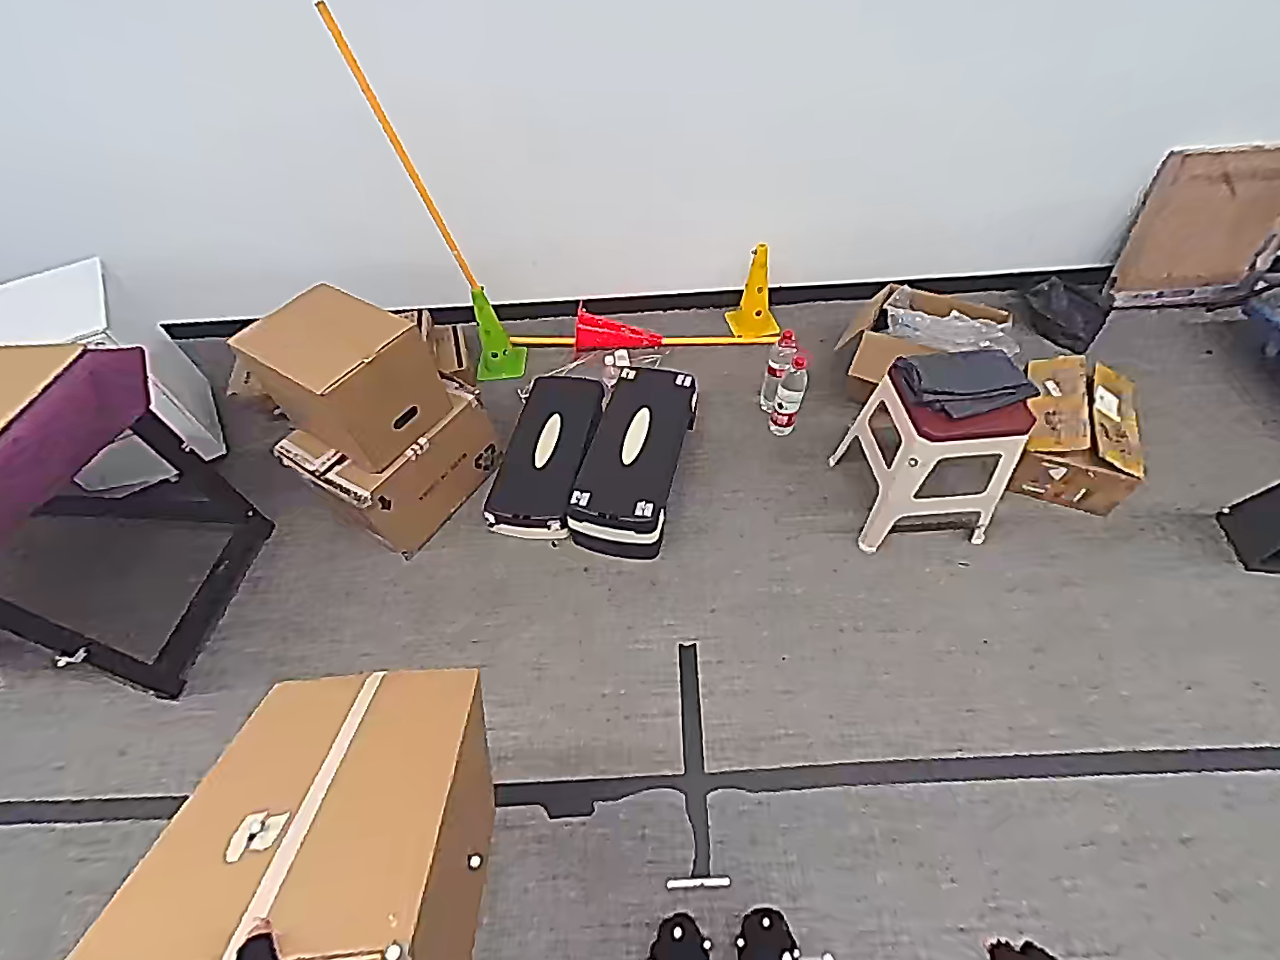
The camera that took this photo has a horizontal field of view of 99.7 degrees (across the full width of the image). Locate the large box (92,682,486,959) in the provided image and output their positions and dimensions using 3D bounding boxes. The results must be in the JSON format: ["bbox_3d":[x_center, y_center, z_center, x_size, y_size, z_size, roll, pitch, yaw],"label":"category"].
[{"bbox_3d":[-0.398,0.541,0.735,0.320,0.320,0.408,-2,20,-7],"label":"large box"}]
